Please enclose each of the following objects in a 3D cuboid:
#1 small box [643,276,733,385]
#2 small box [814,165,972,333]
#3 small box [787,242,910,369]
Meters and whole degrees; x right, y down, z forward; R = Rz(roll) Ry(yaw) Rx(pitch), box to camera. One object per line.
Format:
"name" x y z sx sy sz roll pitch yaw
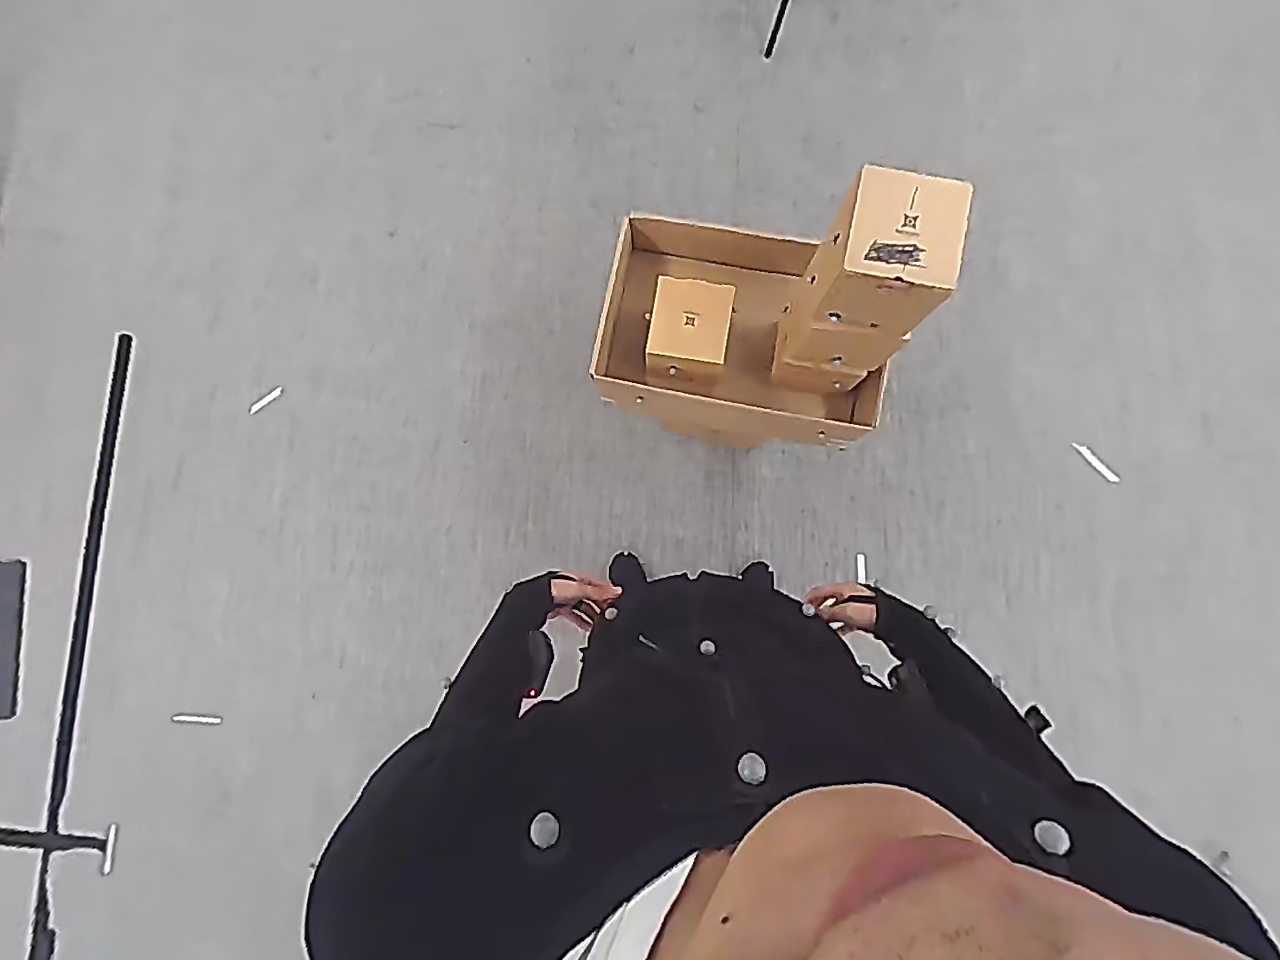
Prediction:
"small box" 0.105 -0.325 1.206 0.168 0.176 0.179 9 83 3
"small box" 0.390 -0.356 0.864 0.168 0.176 0.179 13 83 4
"small box" 0.394 -0.321 1.026 0.179 0.176 0.168 9 83 2
